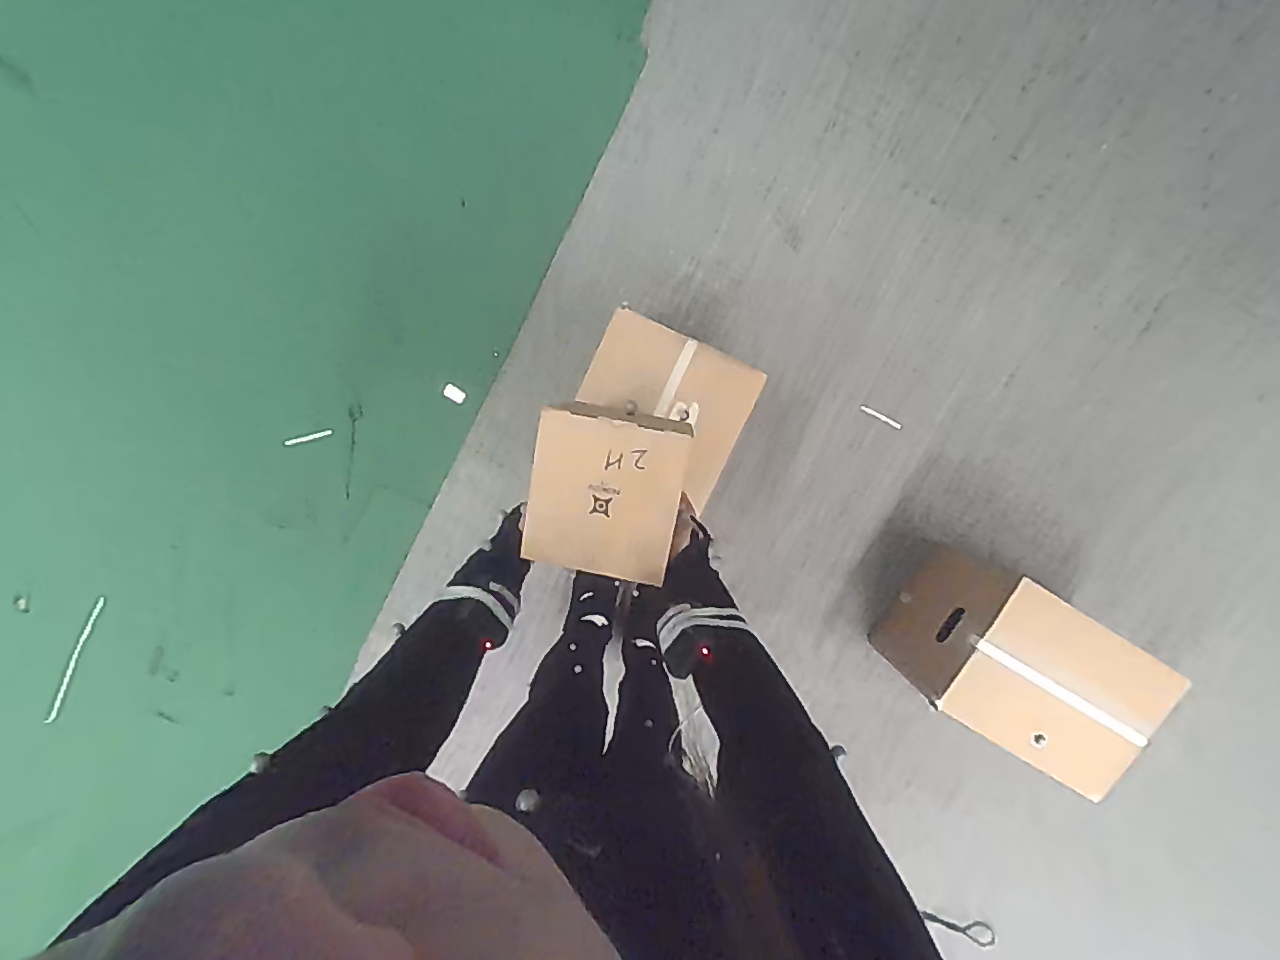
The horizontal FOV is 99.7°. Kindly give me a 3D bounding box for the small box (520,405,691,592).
[{"bbox_3d":[-0.034,0.011,0.666,0.168,0.176,0.179,12,101,2],"label":"small box"}]

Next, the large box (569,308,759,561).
[{"bbox_3d":[0.009,-0.091,1.177,0.320,0.320,0.408,26,94,-2],"label":"large box"}]
